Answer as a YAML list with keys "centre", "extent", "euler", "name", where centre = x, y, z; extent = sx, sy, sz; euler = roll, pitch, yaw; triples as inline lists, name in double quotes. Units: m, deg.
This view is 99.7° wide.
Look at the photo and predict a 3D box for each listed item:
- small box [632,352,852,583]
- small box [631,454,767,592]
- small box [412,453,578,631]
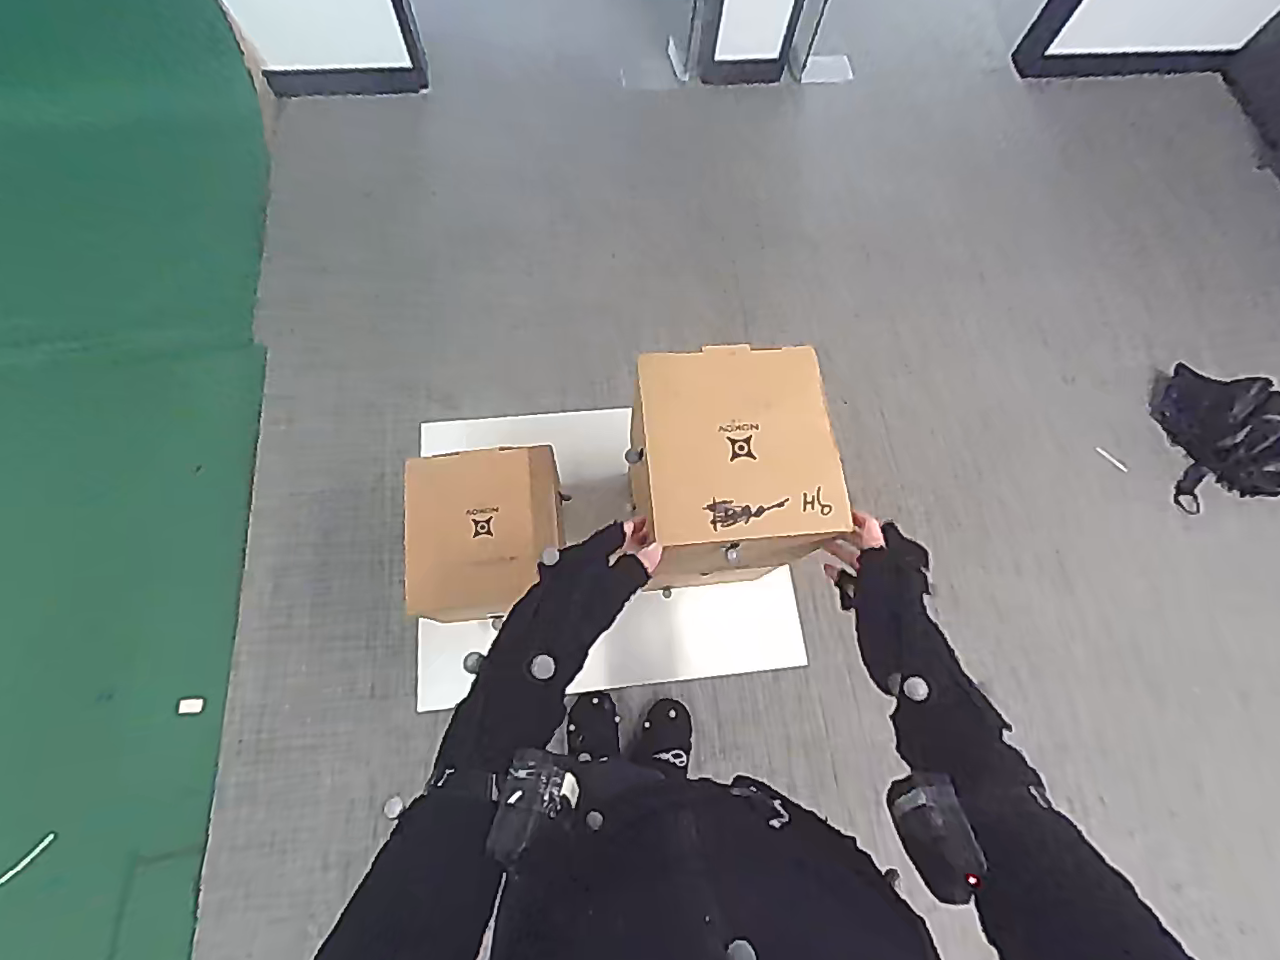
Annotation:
- centre: [0.081, -0.004, 0.538]
  extent: [0.168, 0.176, 0.179]
  euler: [-5, 71, -3]
  name: "small box"
- centre: [0.079, 0.044, 0.695]
  extent: [0.168, 0.176, 0.179]
  euler: [-6, 71, -5]
  name: "small box"
- centre: [-0.172, 0.084, 0.672]
  extent: [0.168, 0.176, 0.179]
  euler: [-8, 73, -5]
  name: "small box"
